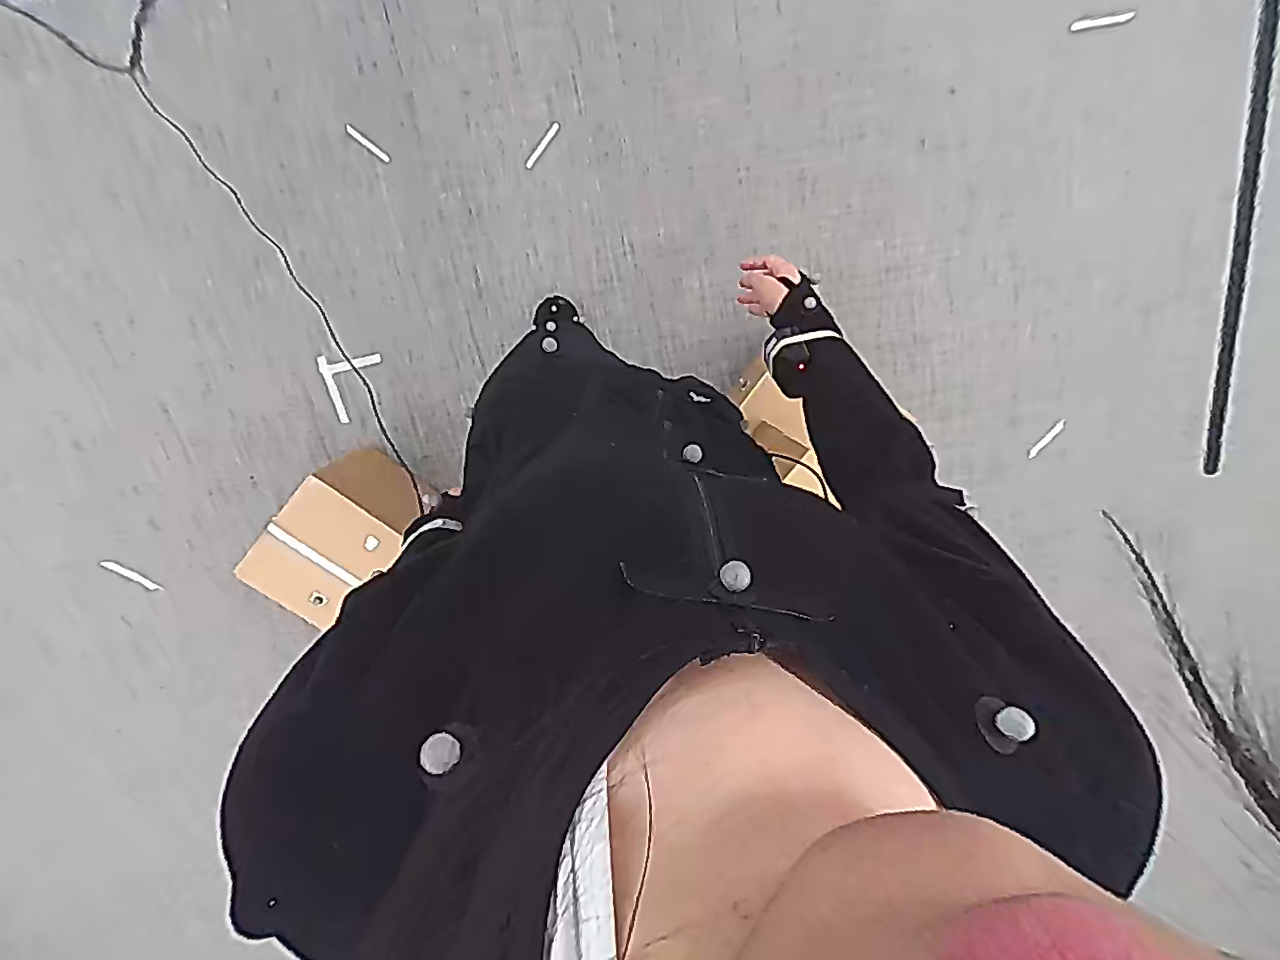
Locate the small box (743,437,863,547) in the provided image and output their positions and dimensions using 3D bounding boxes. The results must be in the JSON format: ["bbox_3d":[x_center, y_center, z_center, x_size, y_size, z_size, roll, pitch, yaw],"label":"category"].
[{"bbox_3d":[0.367,0.019,1.248,0.179,0.176,0.168,36,100,-13],"label":"small box"}]

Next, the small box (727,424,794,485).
[{"bbox_3d":[0.353,-0.027,1.403,0.179,0.176,0.168,37,99,-14],"label":"small box"}]
